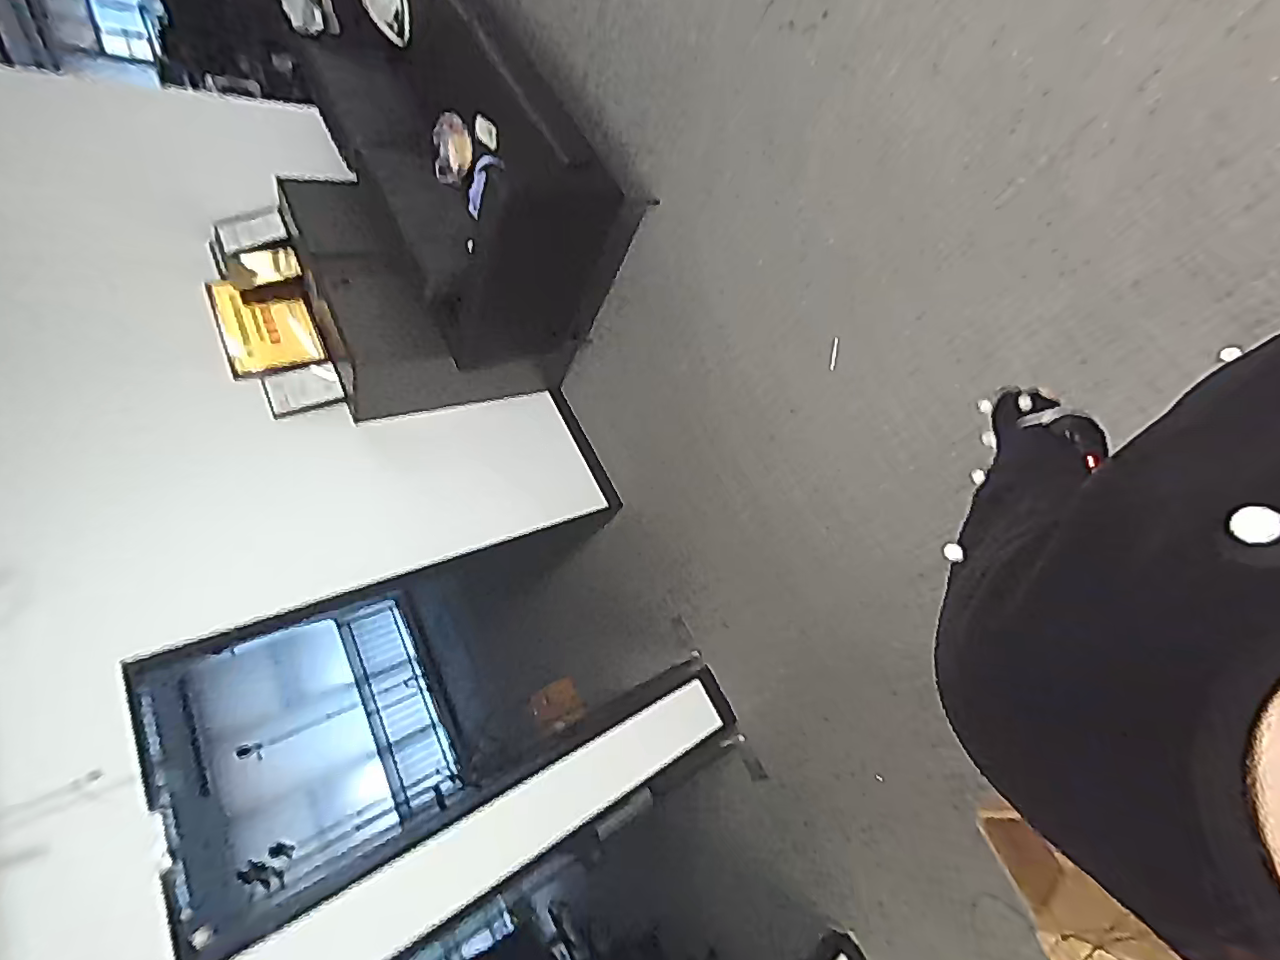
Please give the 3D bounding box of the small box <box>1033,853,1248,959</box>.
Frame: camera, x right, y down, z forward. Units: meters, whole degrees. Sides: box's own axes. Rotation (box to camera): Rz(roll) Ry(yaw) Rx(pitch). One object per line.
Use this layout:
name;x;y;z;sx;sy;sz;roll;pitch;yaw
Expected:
small box;0.693;0.657;0.732;0.168;0.176;0.179;-39;71;54
